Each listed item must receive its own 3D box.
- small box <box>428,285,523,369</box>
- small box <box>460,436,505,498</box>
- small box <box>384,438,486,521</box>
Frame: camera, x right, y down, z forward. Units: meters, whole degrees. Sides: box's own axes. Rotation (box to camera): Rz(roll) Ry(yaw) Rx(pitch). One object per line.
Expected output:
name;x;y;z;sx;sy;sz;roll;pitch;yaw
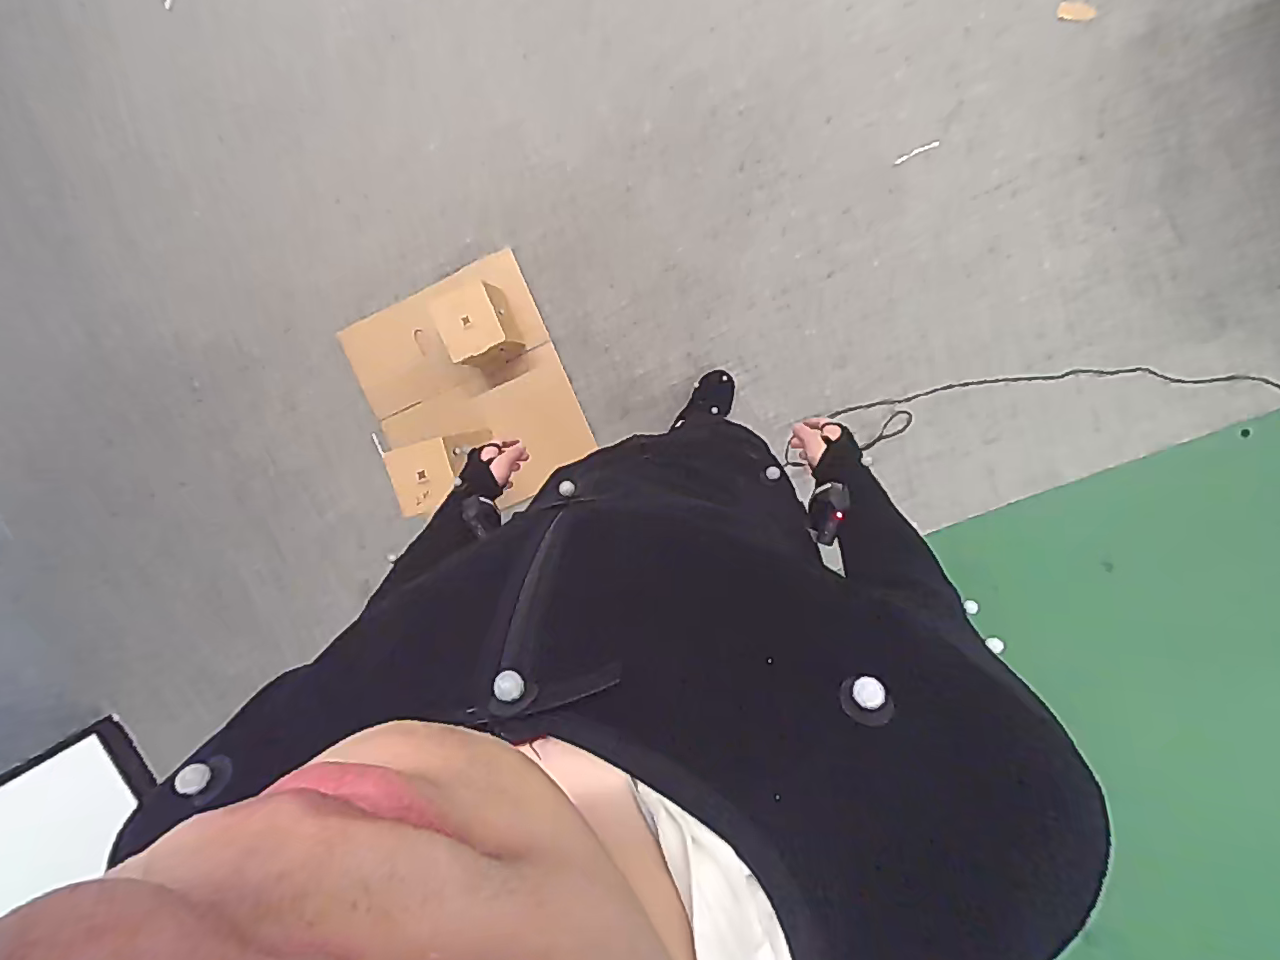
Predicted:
small box;-0.452;-0.422;1.518;0.168;0.176;0.179;-21;97;8
small box;-0.520;-0.029;1.588;0.168;0.176;0.179;-14;97;8
small box;-0.531;-0.008;1.423;0.168;0.176;0.179;-14;98;8
